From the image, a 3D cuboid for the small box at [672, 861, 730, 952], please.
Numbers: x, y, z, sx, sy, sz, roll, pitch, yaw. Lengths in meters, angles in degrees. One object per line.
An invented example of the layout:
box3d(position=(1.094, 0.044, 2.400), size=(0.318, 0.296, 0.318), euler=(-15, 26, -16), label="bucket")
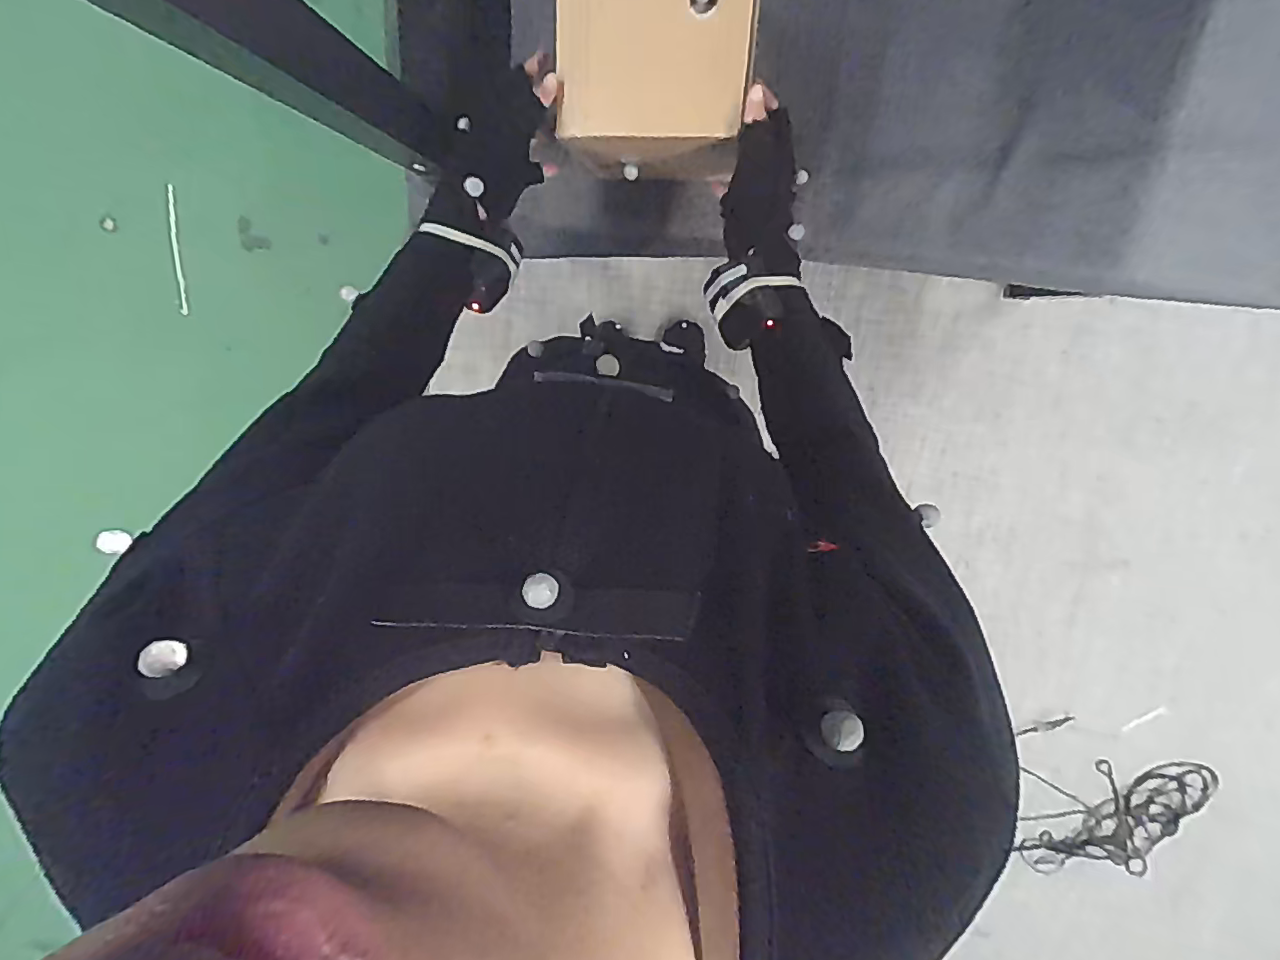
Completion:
box3d(position=(0.206, 1.459, 1.855), size=(0.168, 0.176, 0.179), euler=(8, 107, 1), label="small box")
